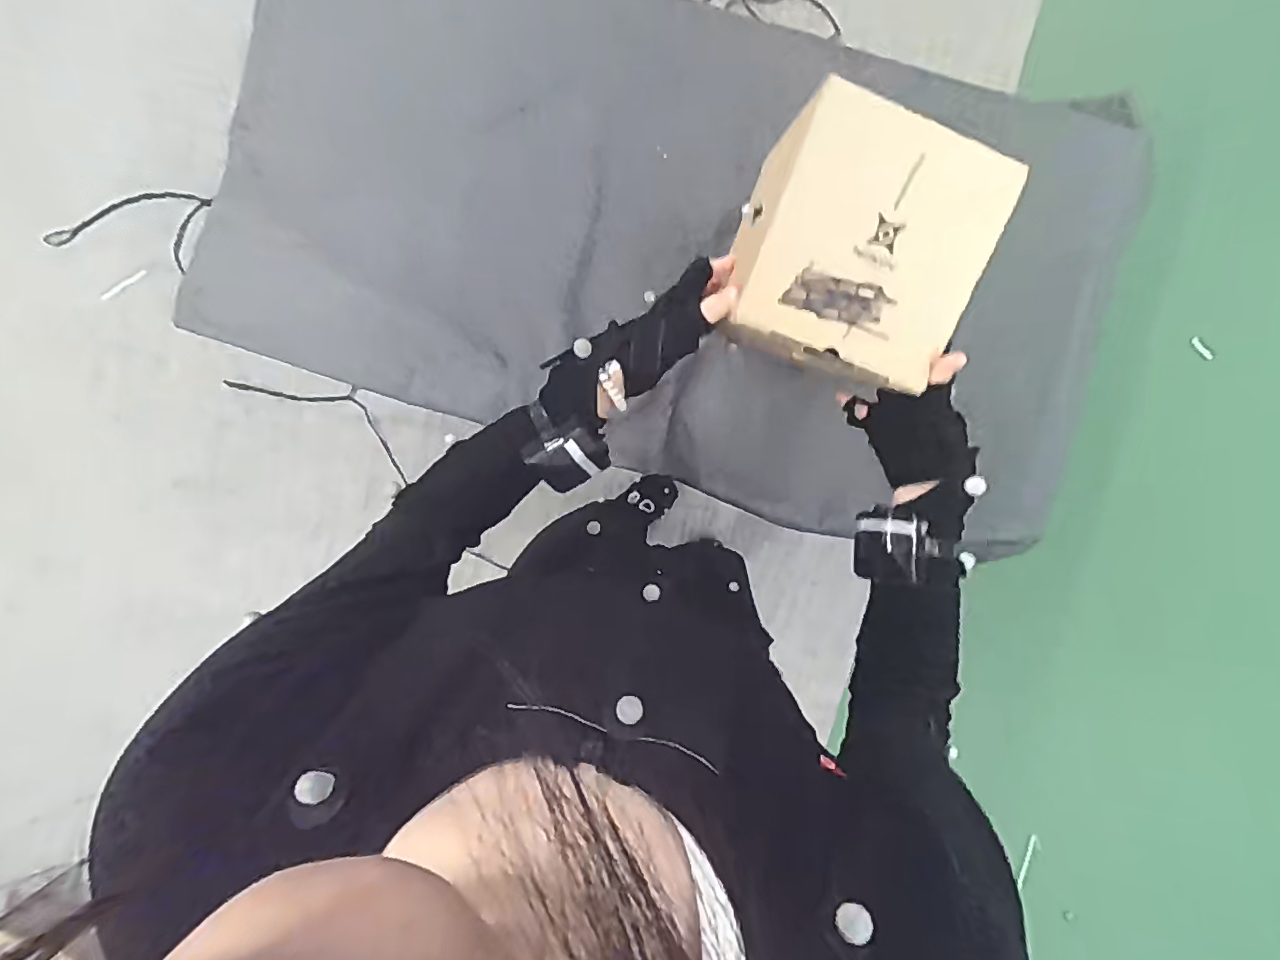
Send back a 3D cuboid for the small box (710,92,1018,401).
[{"bbox_3d":[0.172,-0.187,0.486,0.168,0.176,0.179,20,102,-7],"label":"small box"}]
